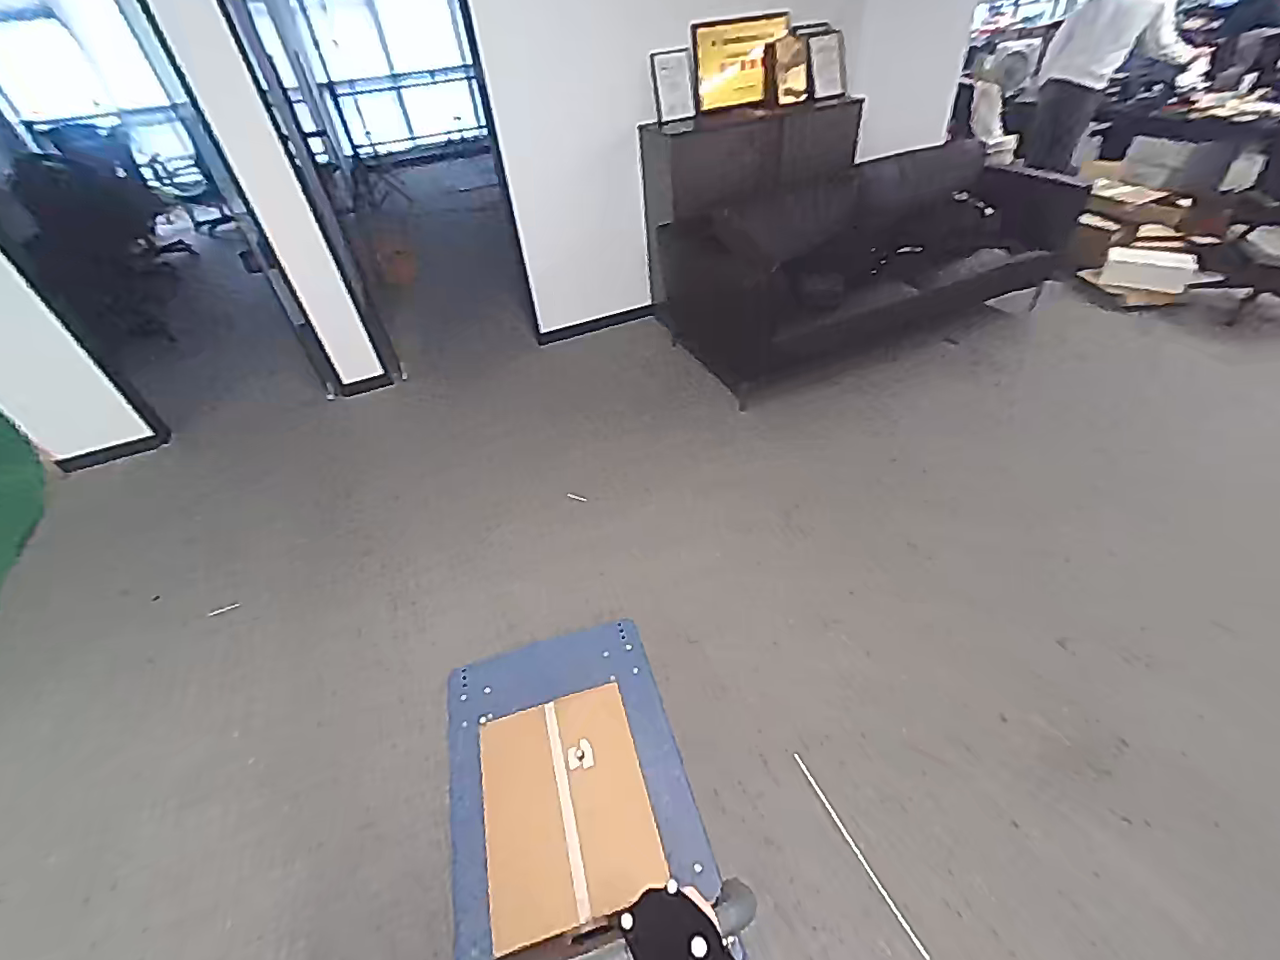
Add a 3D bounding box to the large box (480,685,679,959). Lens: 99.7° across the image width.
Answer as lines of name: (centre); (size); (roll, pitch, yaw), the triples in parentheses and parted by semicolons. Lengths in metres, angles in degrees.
large box: (-0.131, 0.731, 1.147); (0.320, 0.320, 0.408); (-14, 41, -10)
